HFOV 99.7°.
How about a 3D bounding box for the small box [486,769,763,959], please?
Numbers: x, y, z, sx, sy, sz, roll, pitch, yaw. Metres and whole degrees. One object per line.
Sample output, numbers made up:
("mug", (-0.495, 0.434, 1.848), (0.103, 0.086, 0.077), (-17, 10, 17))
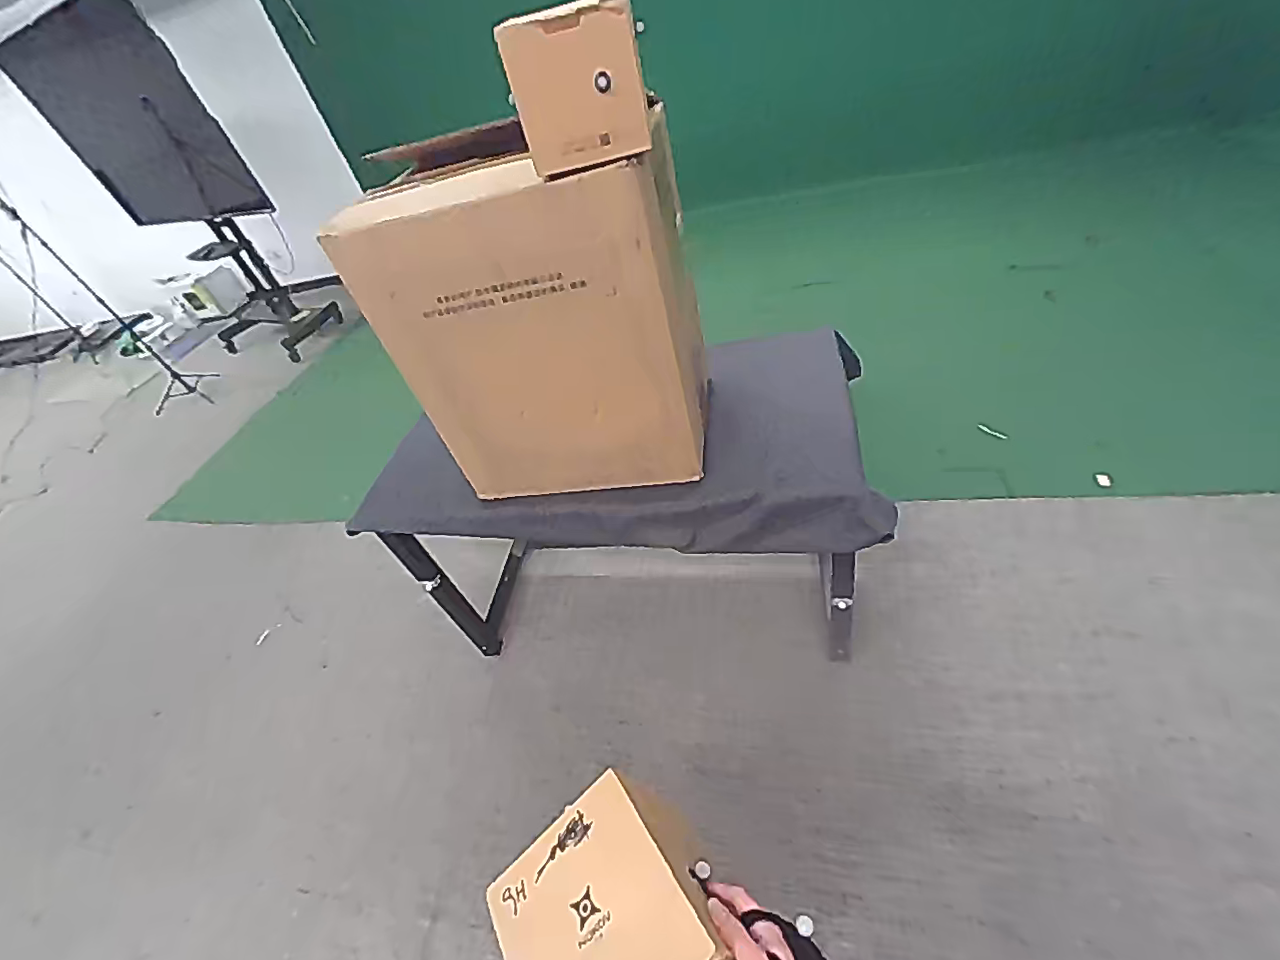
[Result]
("small box", (-0.010, 0.422, 0.521), (0.168, 0.176, 0.179), (-42, 44, -7))

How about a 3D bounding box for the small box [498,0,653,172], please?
("small box", (-0.077, -0.549, 0.754), (0.168, 0.176, 0.179), (-8, 43, 8))
